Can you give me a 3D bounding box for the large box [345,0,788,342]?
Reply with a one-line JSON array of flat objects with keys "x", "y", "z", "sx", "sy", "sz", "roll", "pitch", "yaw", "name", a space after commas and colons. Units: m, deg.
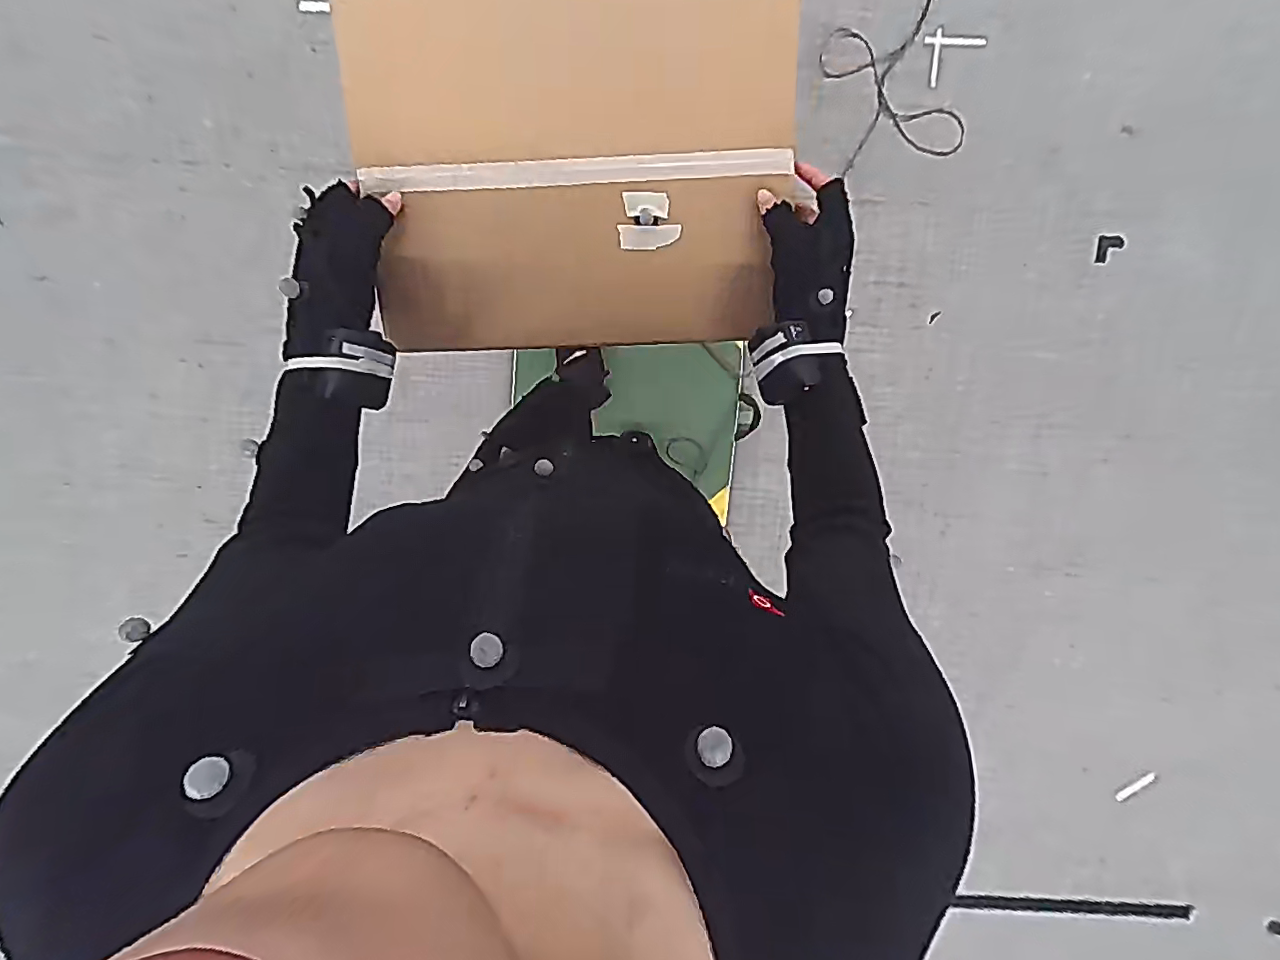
[{"x": -0.061, "y": -0.343, "z": 0.661, "sx": 0.408, "sy": 0.320, "sz": 0.320, "roll": -3, "pitch": 106, "yaw": 0, "name": "large box"}]
